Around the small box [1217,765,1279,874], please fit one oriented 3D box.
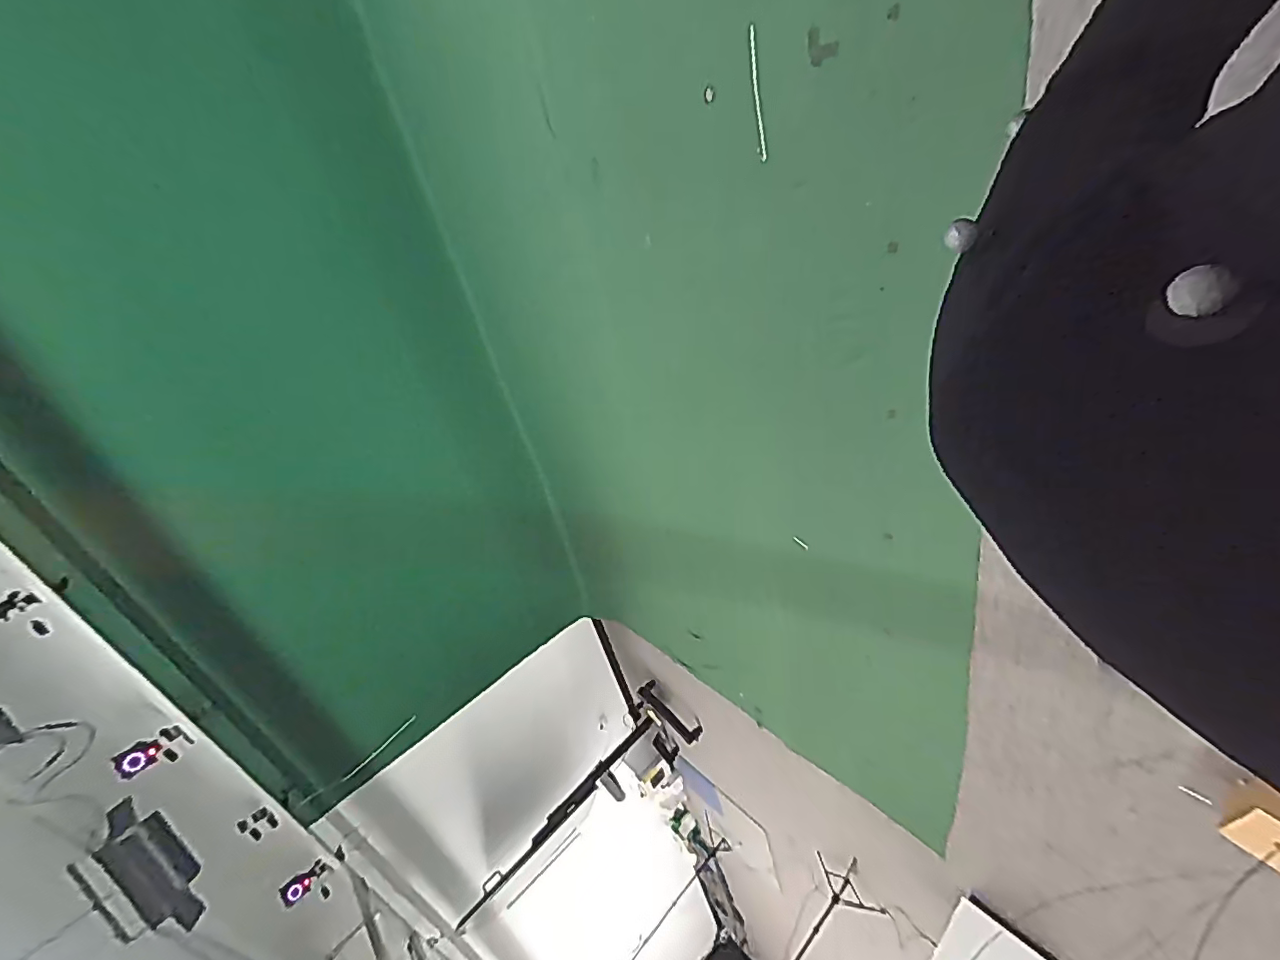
[{"bbox_3d":[1.606,0.853,1.335,0.179,0.176,0.168,35,144,37],"label":"small box"}]
